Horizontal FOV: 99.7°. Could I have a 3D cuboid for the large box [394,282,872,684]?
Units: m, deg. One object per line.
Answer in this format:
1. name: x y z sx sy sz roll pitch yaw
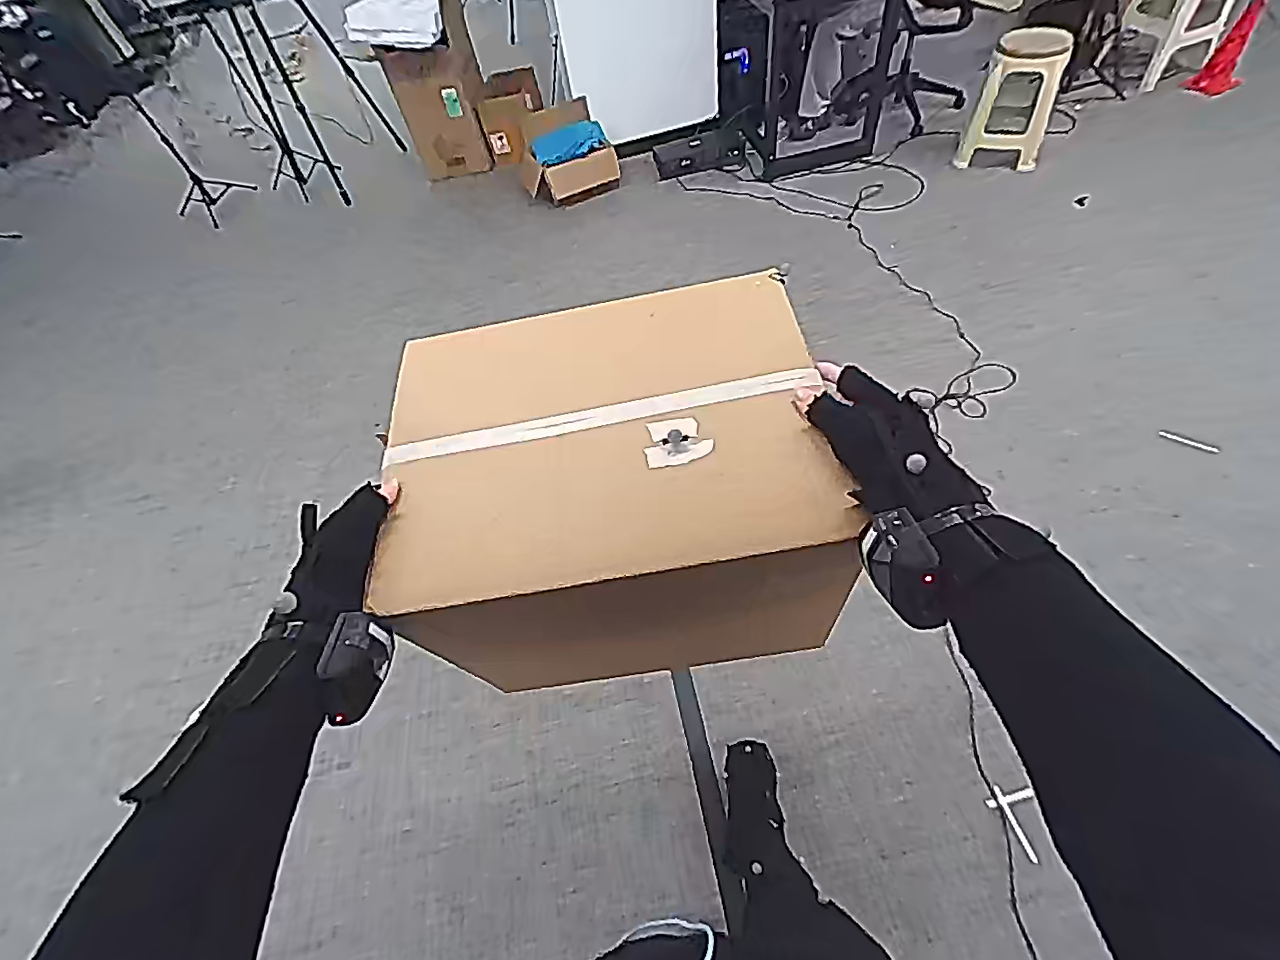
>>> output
1. large box: -0.009 0.023 0.639 0.408 0.320 0.320 -10 58 3
